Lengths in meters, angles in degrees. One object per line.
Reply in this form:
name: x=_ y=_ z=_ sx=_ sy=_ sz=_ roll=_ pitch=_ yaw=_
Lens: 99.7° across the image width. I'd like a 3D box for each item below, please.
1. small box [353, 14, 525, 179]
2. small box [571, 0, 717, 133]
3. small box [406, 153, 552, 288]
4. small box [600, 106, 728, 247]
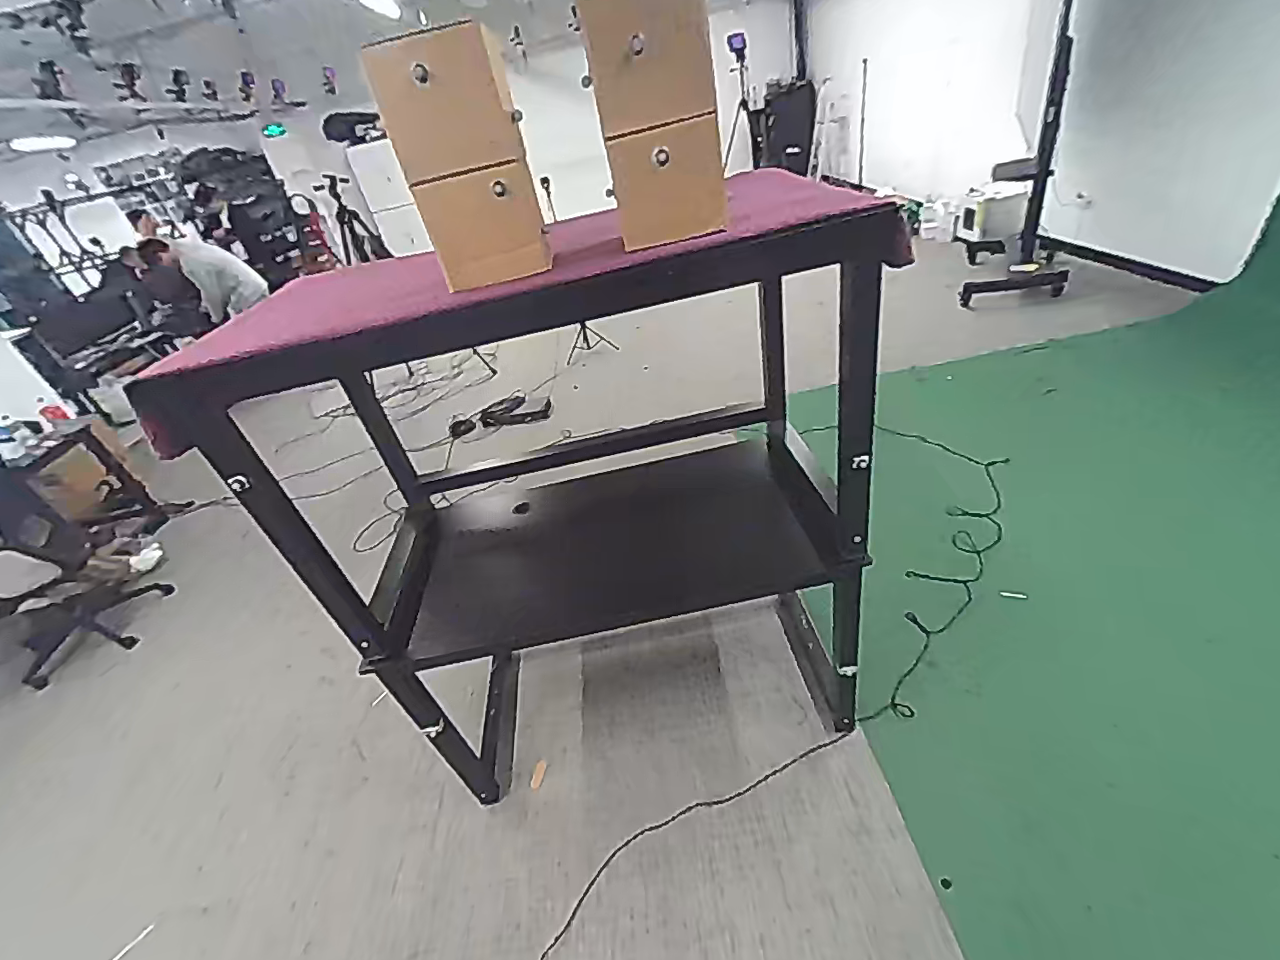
small box: x=-0.292 y=-0.575 z=0.829 sx=0.179 sy=0.176 sz=0.168 roll=-12 pitch=35 yaw=2
small box: x=0.008 y=-0.635 z=0.810 sx=0.179 sy=0.176 sz=0.168 roll=-12 pitch=35 yaw=5
small box: x=-0.260 y=-0.441 z=0.920 sx=0.179 sy=0.176 sz=0.168 roll=-12 pitch=34 yaw=1
small box: x=0.041 y=-0.504 z=0.903 sx=0.179 sy=0.176 sz=0.168 roll=-10 pitch=35 yaw=5
